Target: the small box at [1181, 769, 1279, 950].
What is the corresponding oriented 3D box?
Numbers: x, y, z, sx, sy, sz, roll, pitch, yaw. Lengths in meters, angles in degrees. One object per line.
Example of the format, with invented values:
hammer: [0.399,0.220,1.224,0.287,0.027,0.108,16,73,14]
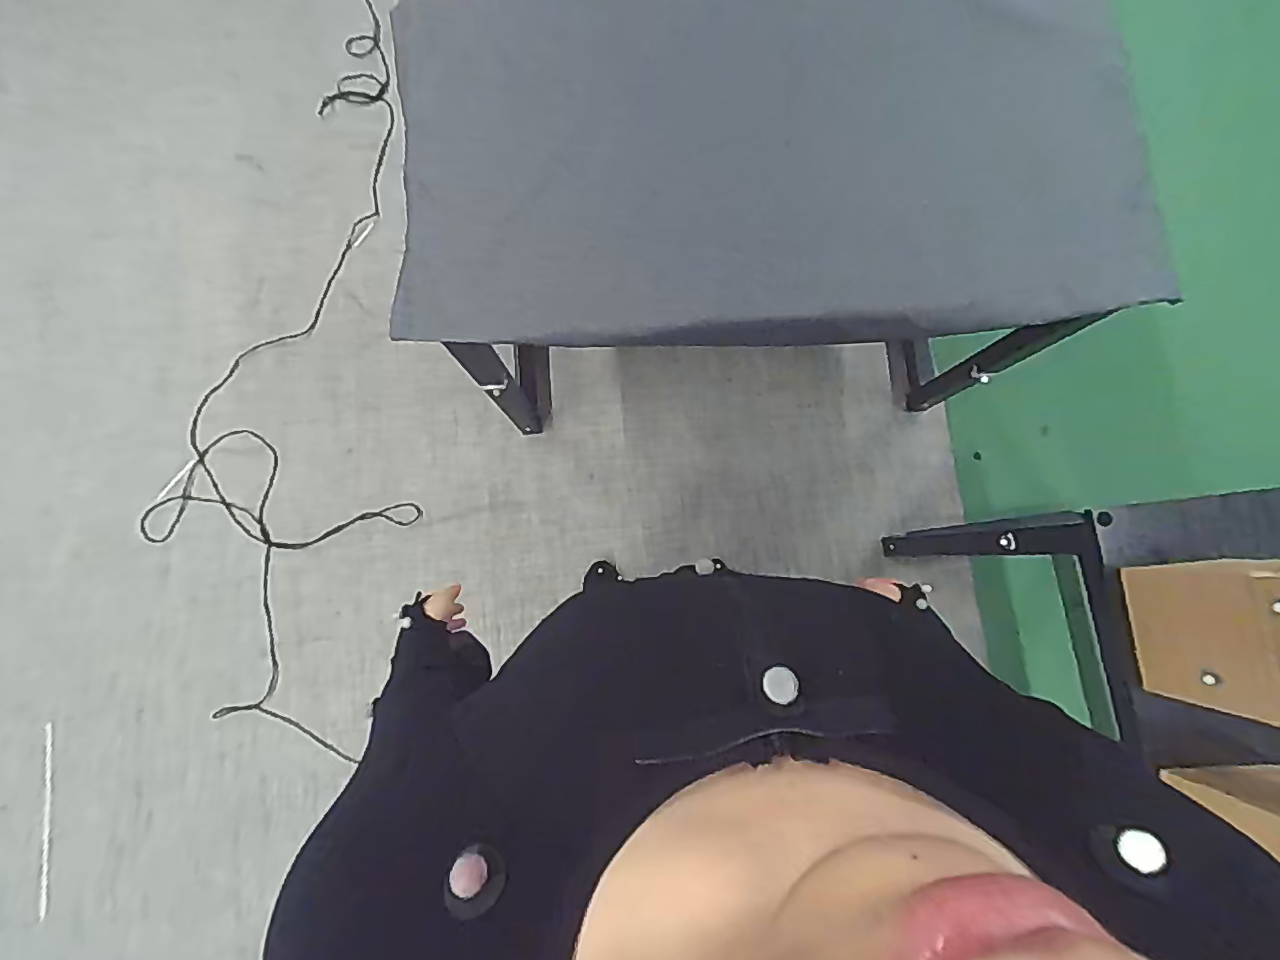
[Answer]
small box: [0.812,0.466,0.650,0.179,0.176,0.168,-2,83,0]
